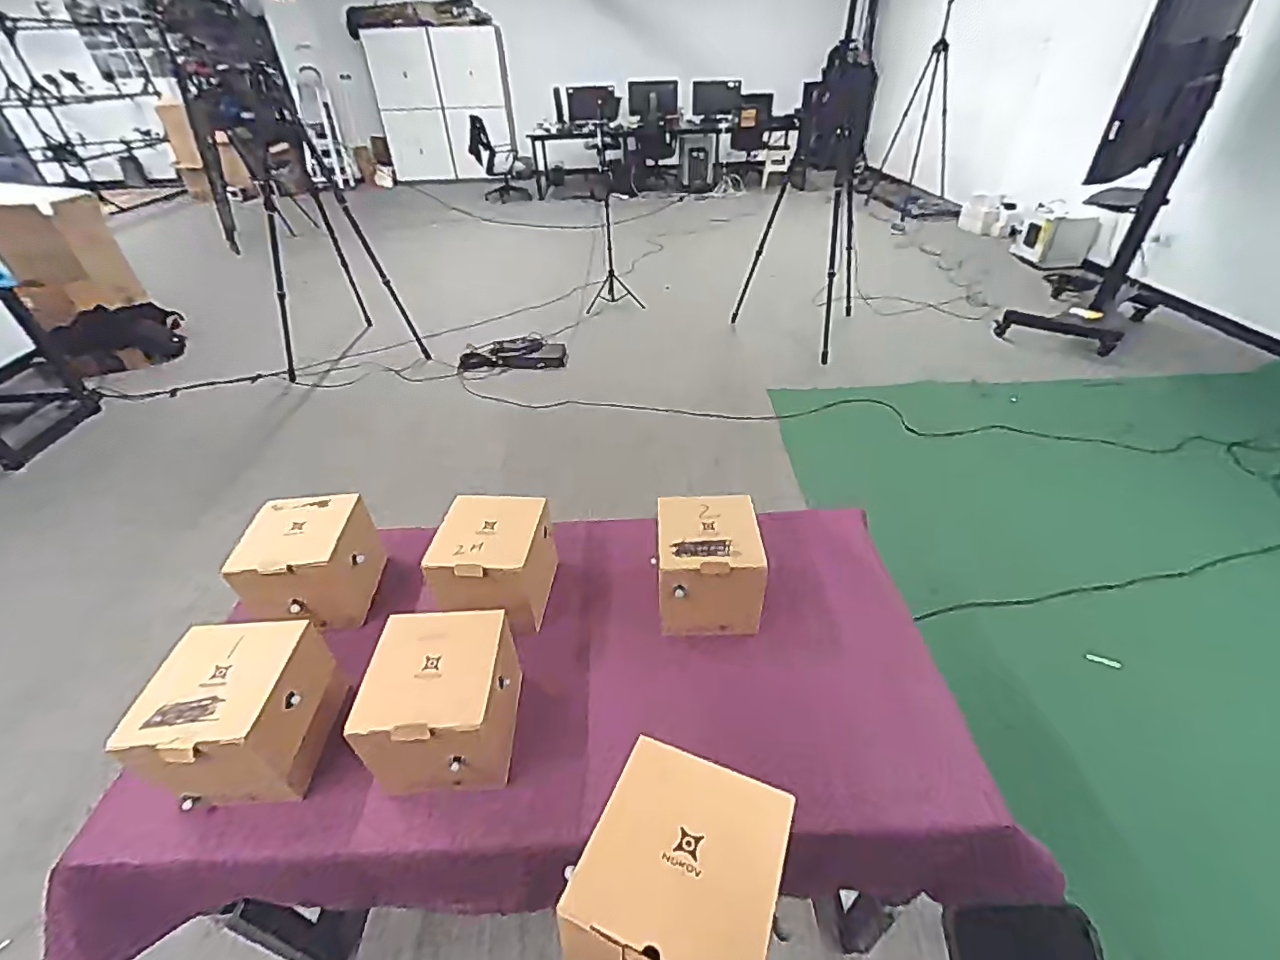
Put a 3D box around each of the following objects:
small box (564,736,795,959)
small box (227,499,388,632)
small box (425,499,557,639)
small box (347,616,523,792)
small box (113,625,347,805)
[{"bbox_3d":[0.041,0.398,0.522,0.168,0.176,0.179,13,32,20],"label":"small box"},{"bbox_3d":[-0.574,0.159,0.967,0.168,0.176,0.179,-5,39,-4],"label":"small box"},{"bbox_3d":[-0.248,0.154,0.953,0.168,0.176,0.179,1,39,6],"label":"small box"},{"bbox_3d":[-0.265,0.313,0.752,0.168,0.176,0.179,-2,37,0],"label":"small box"},{"bbox_3d":[-0.539,0.328,0.748,0.168,0.176,0.179,-3,37,-1],"label":"small box"}]
